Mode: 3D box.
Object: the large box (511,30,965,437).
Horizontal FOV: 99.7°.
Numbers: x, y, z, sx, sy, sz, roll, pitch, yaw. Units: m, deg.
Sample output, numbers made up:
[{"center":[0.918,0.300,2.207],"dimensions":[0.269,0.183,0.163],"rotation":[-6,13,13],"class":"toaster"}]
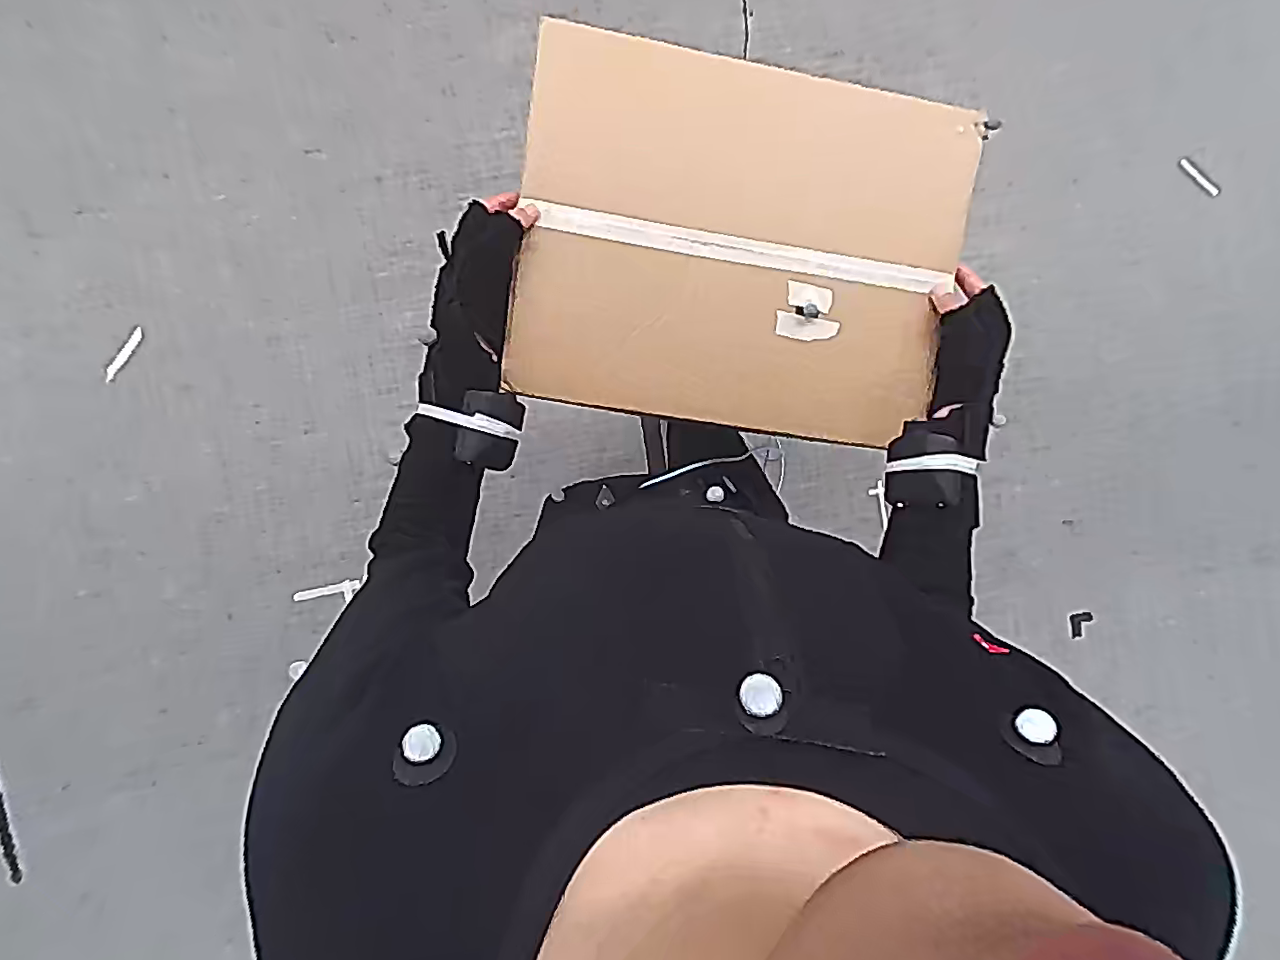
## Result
[{"center":[0.078,-0.235,0.651],"dimensions":[0.408,0.320,0.320],"rotation":[8,97,-7],"class":"large box"}]
